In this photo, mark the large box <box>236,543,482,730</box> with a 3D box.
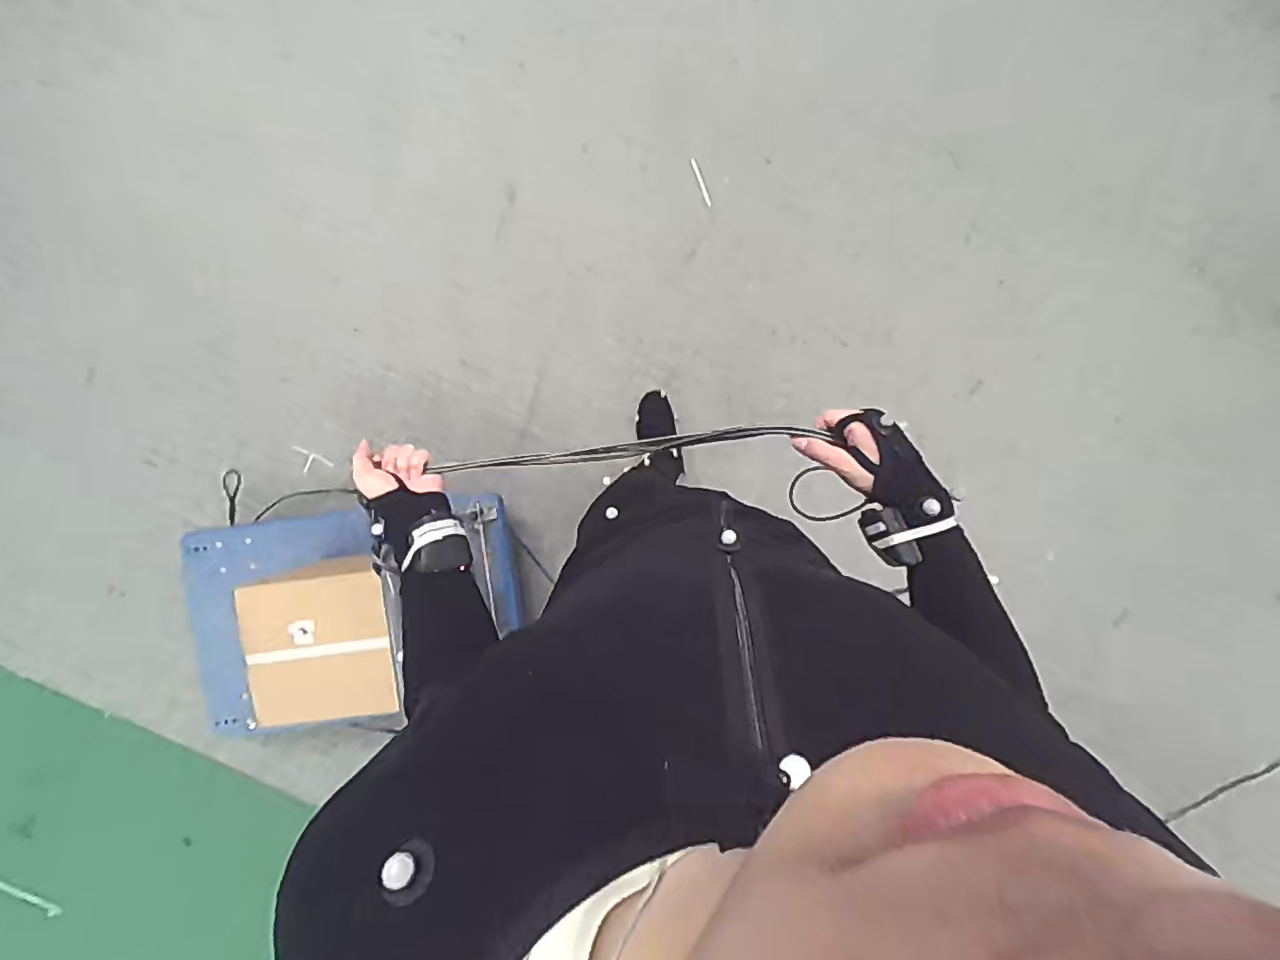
[{"bbox_3d":[-0.638,0.350,1.294,0.408,0.320,0.320,-7,92,1],"label":"large box"}]
